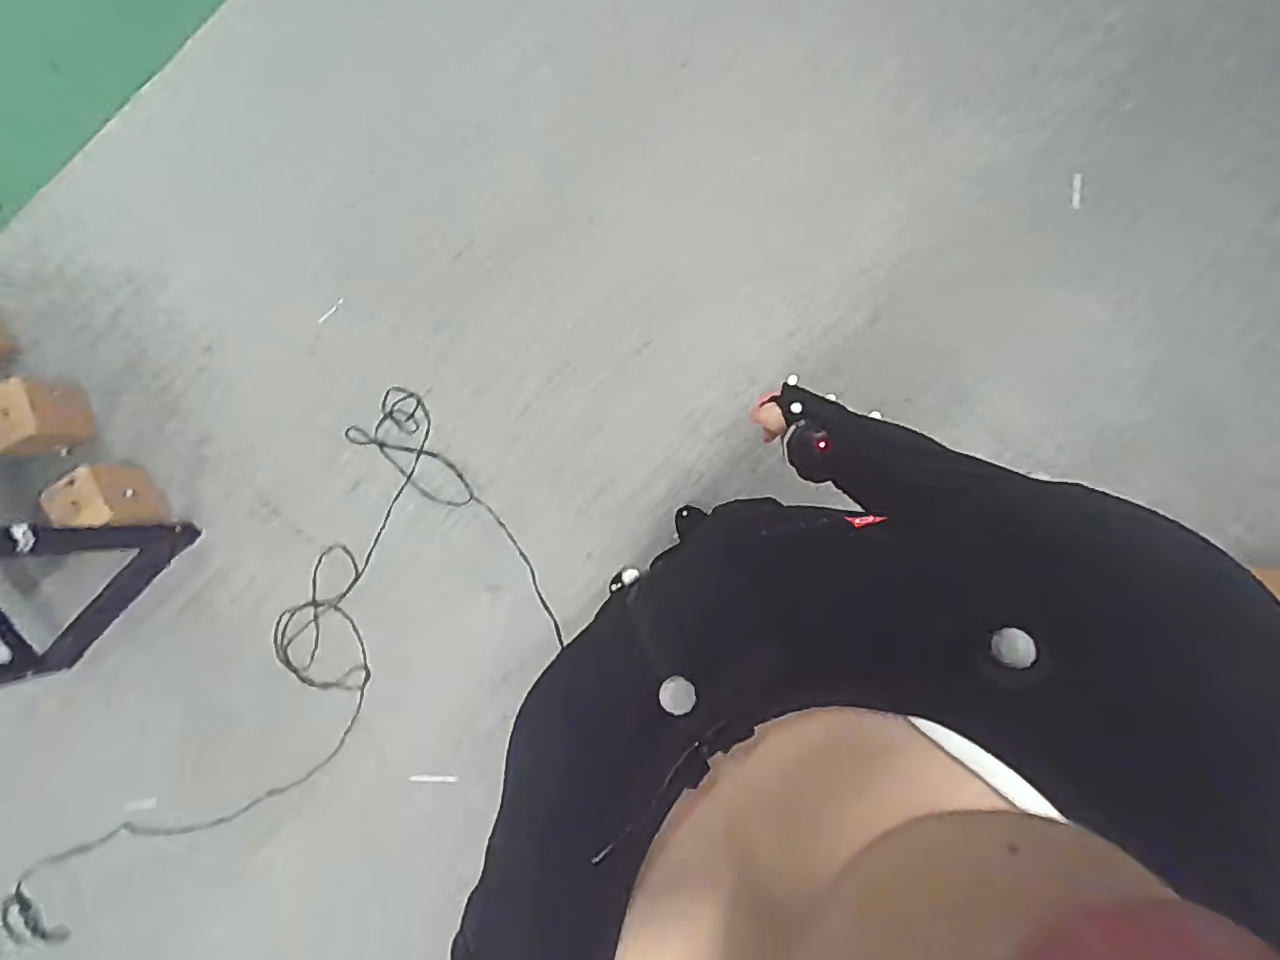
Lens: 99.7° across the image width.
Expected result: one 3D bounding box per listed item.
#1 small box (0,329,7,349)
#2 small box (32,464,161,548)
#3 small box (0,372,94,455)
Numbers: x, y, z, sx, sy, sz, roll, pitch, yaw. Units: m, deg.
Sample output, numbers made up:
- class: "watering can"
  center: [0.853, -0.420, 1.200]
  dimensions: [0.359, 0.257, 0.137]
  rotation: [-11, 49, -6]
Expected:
- class: "small box"
  center: [-2.069, -0.447, 1.602]
  dimensions: [0.168, 0.176, 0.179]
  rotation: [-39, 84, 0]
- class: "small box"
  center: [-1.528, 0.071, 1.533]
  dimensions: [0.168, 0.176, 0.179]
  rotation: [-32, 86, 1]
- class: "small box"
  center: [-1.760, -0.185, 1.565]
  dimensions: [0.168, 0.176, 0.179]
  rotation: [-25, 86, 3]
